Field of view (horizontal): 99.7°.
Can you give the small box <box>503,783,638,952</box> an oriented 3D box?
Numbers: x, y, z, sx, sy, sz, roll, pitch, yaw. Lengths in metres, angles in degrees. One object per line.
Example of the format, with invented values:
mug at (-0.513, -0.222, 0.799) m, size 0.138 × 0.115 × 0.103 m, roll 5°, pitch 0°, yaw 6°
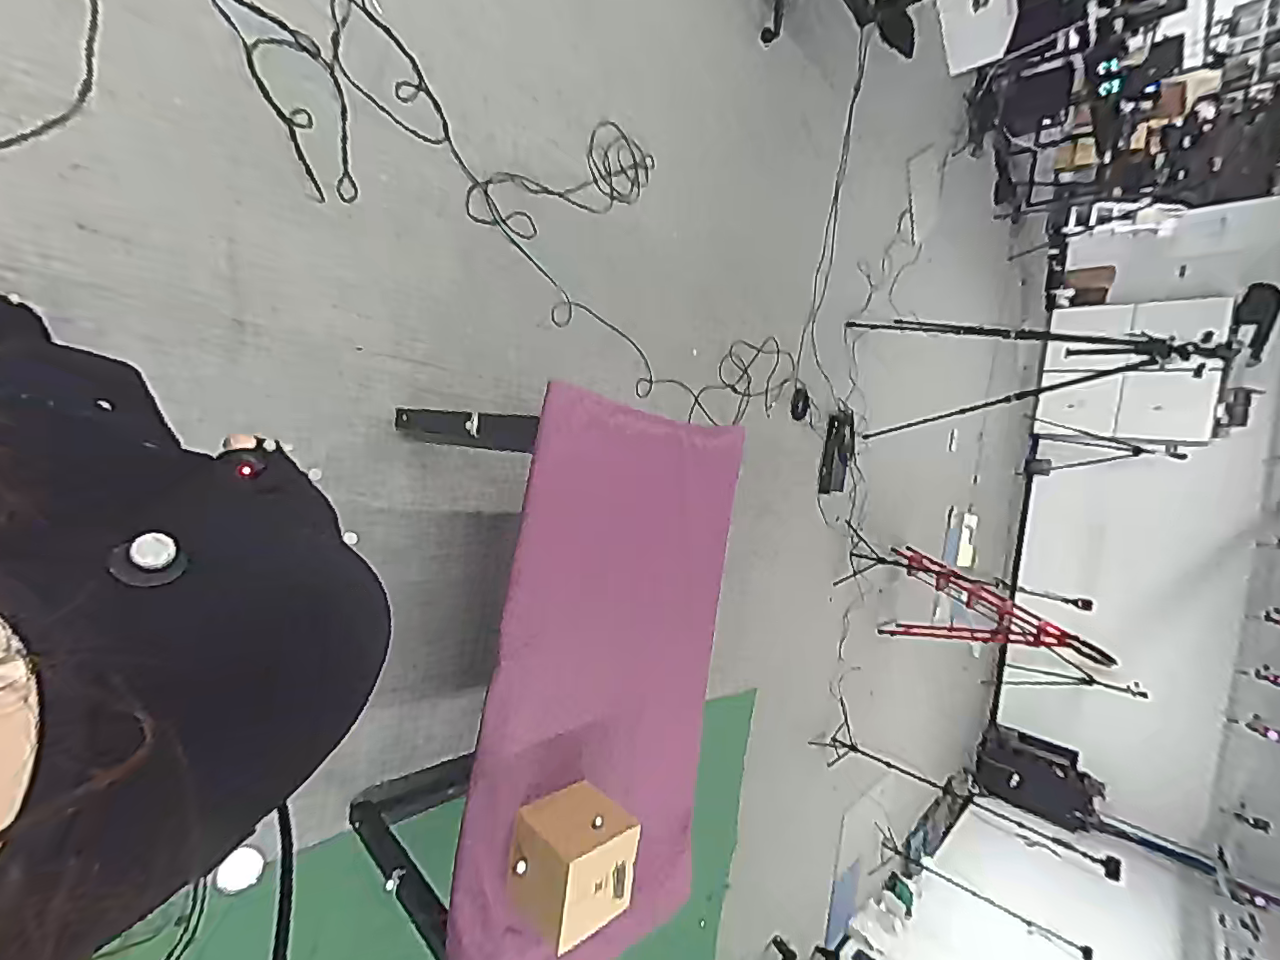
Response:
small box at (-0.132, 0.713, 1.025) m, size 0.179 × 0.176 × 0.168 m, roll 6°, pitch 92°, yaw -46°
